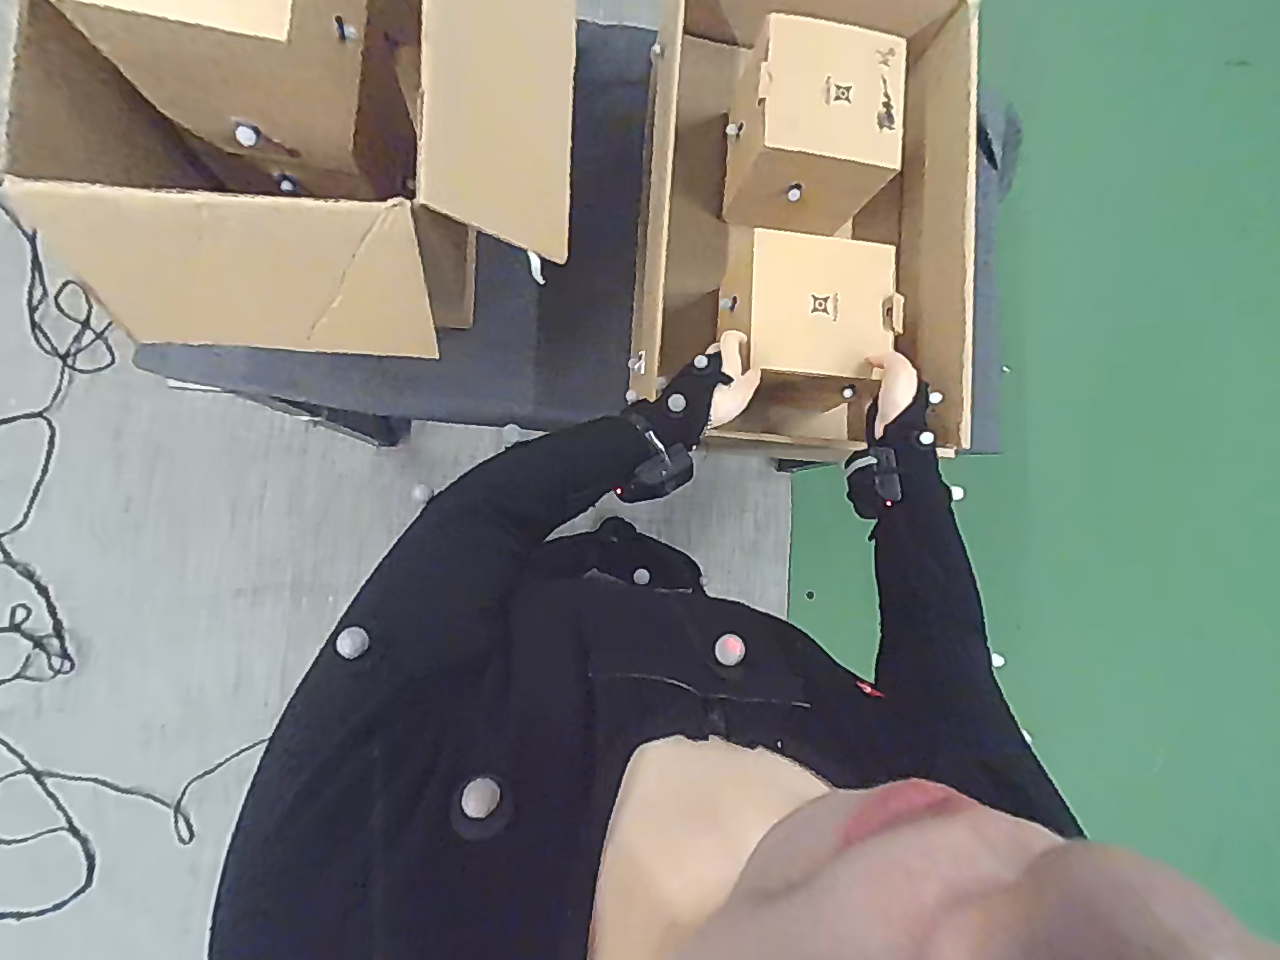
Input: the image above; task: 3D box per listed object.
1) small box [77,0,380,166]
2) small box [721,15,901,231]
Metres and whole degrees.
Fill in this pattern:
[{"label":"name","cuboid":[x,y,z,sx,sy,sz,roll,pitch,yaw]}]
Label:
[{"label":"small box","cuboid":[-0.350,-0.429,0.488,0.168,0.176,0.179,6,88,-9]},{"label":"small box","cuboid":[0.215,-0.456,0.720,0.179,0.176,0.168,4,88,-7]}]
